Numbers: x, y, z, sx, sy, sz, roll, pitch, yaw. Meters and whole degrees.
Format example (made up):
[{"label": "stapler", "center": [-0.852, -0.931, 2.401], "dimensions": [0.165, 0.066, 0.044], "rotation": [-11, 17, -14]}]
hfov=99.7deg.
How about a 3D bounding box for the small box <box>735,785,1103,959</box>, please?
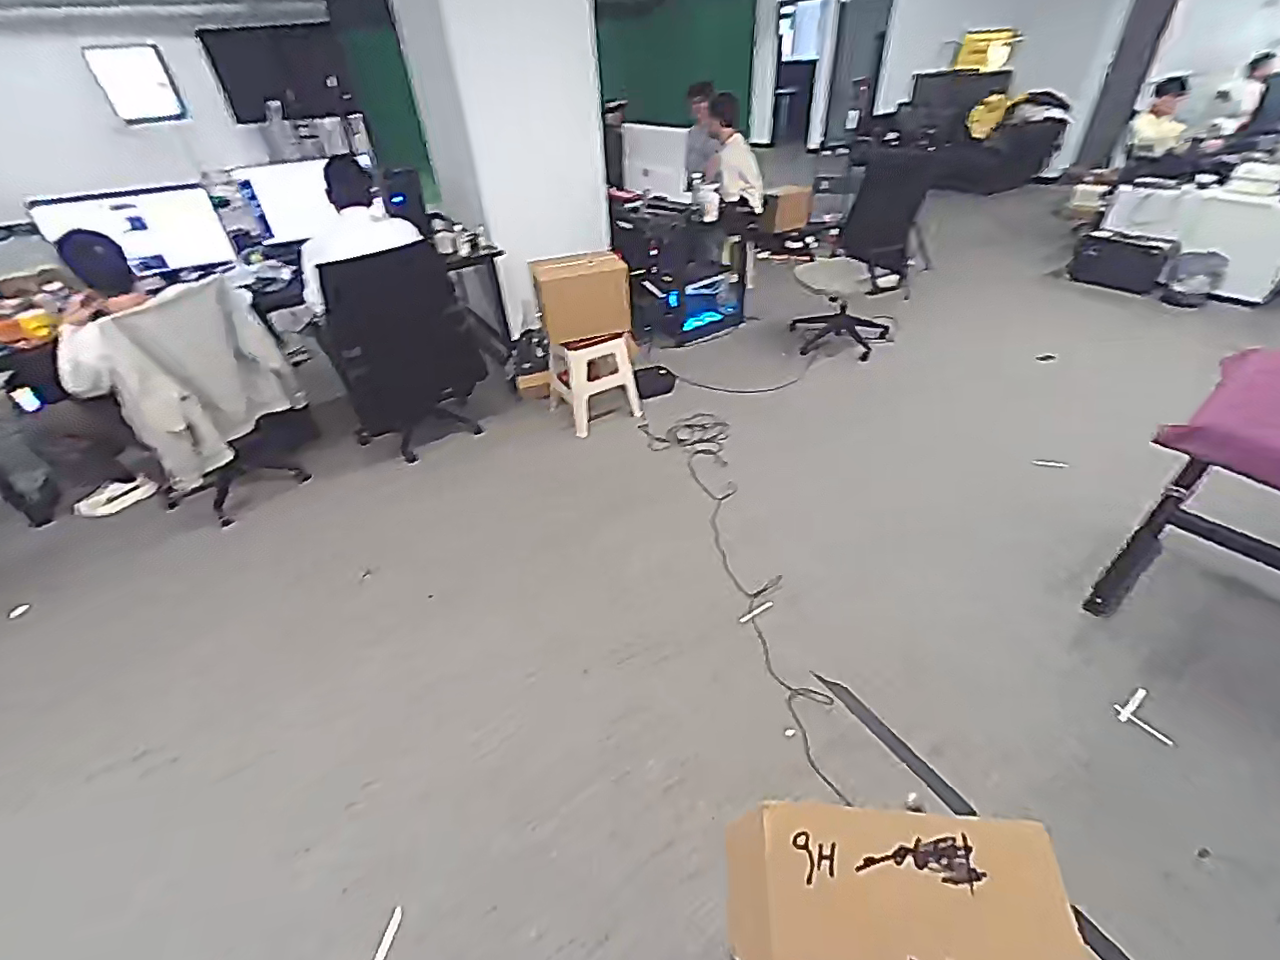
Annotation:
[{"label": "small box", "center": [0.153, 0.303, 0.334], "dimensions": [0.168, 0.176, 0.179], "rotation": [3, 54, 2]}]
